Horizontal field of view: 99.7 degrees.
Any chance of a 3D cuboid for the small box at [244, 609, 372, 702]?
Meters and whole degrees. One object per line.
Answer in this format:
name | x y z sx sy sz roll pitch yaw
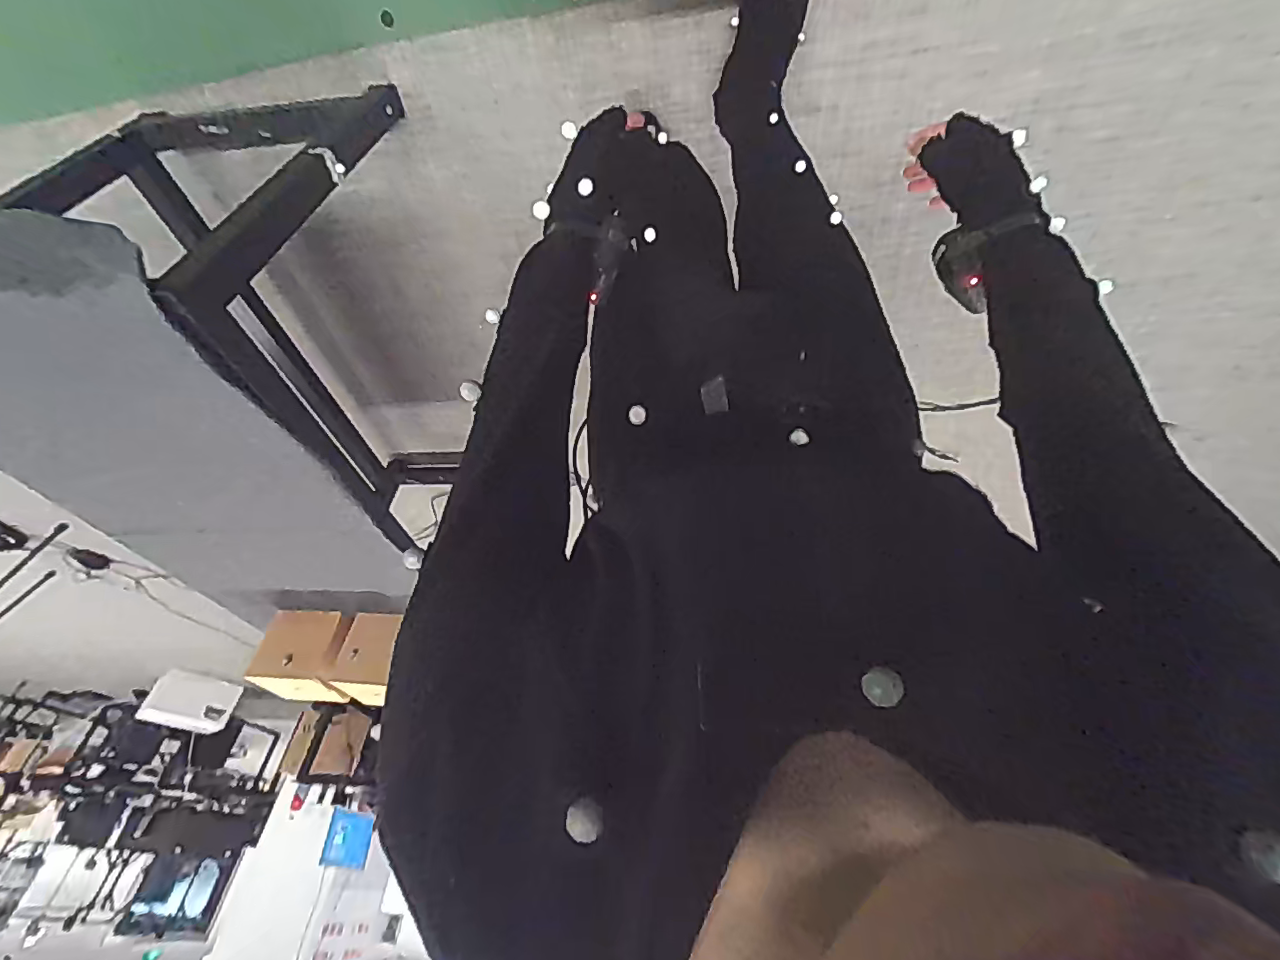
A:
small box | -0.799 0.427 1.322 0.179 0.176 0.168 0 142 7
